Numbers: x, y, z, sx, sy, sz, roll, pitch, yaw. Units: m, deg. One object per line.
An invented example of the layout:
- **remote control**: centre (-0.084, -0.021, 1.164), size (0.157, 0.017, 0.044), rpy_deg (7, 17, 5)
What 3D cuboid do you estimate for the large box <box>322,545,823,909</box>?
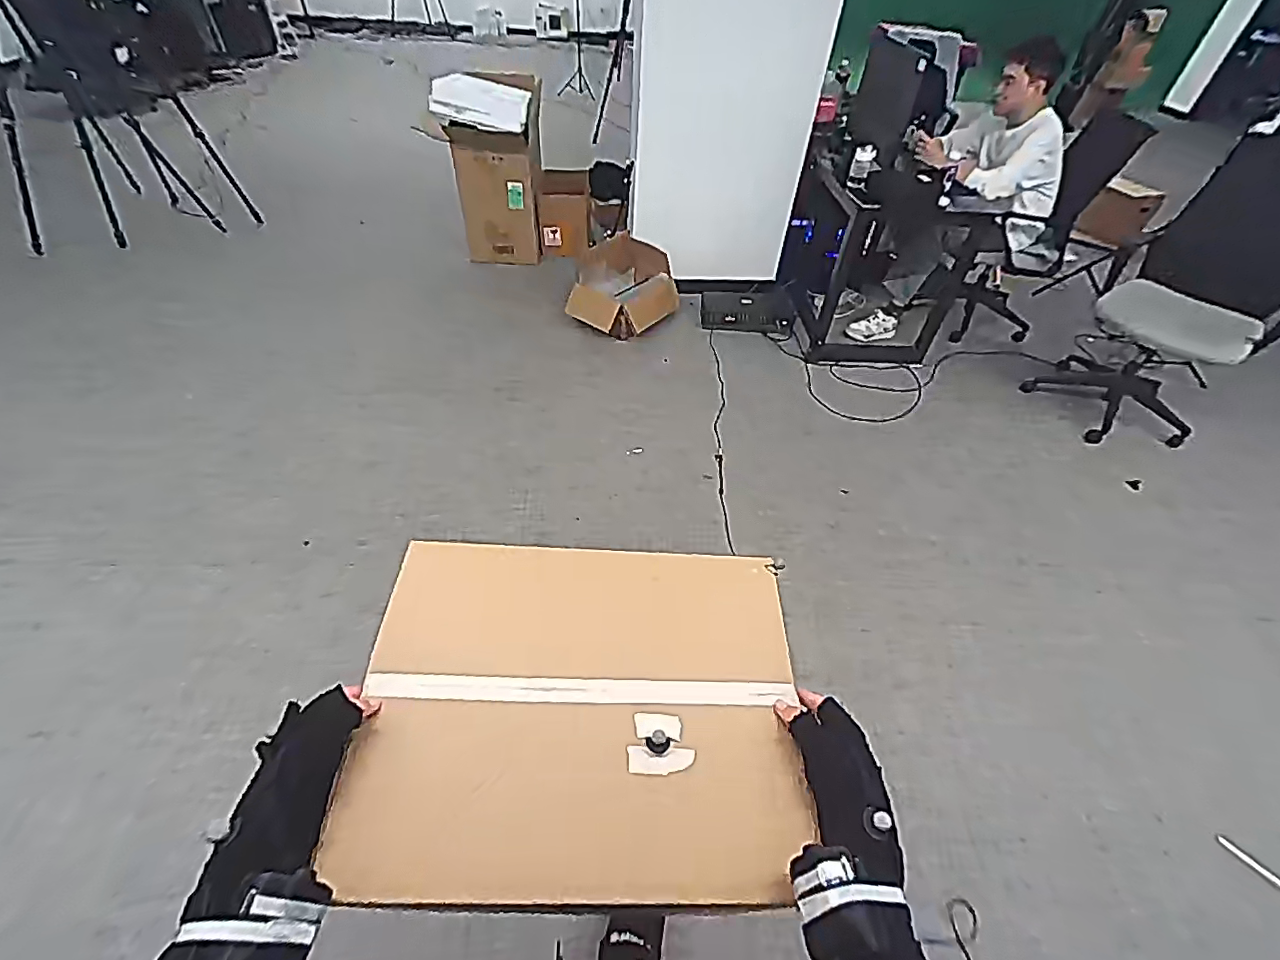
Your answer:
- **large box**: centre (-0.063, 0.295, 0.631), size (0.408, 0.320, 0.320), rpy_deg (4, 50, -4)
